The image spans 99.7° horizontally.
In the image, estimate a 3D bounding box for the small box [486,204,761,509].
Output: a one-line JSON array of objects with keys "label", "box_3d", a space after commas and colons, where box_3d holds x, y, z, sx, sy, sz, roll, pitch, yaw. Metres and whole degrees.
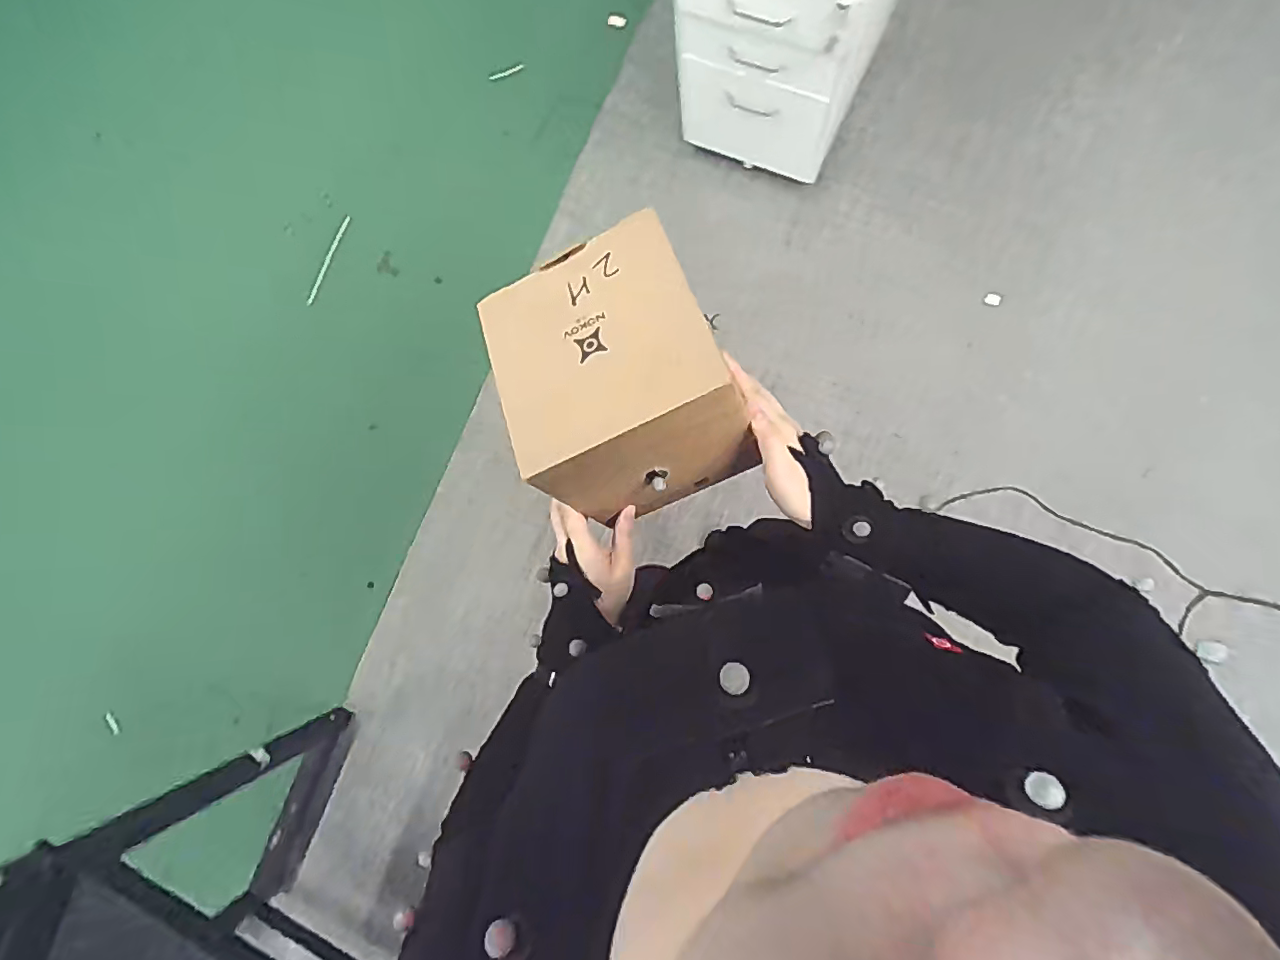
[{"label": "small box", "box_3d": [-0.006, -0.086, 0.474, 0.168, 0.176, 0.179, -23, 66, 12]}]
